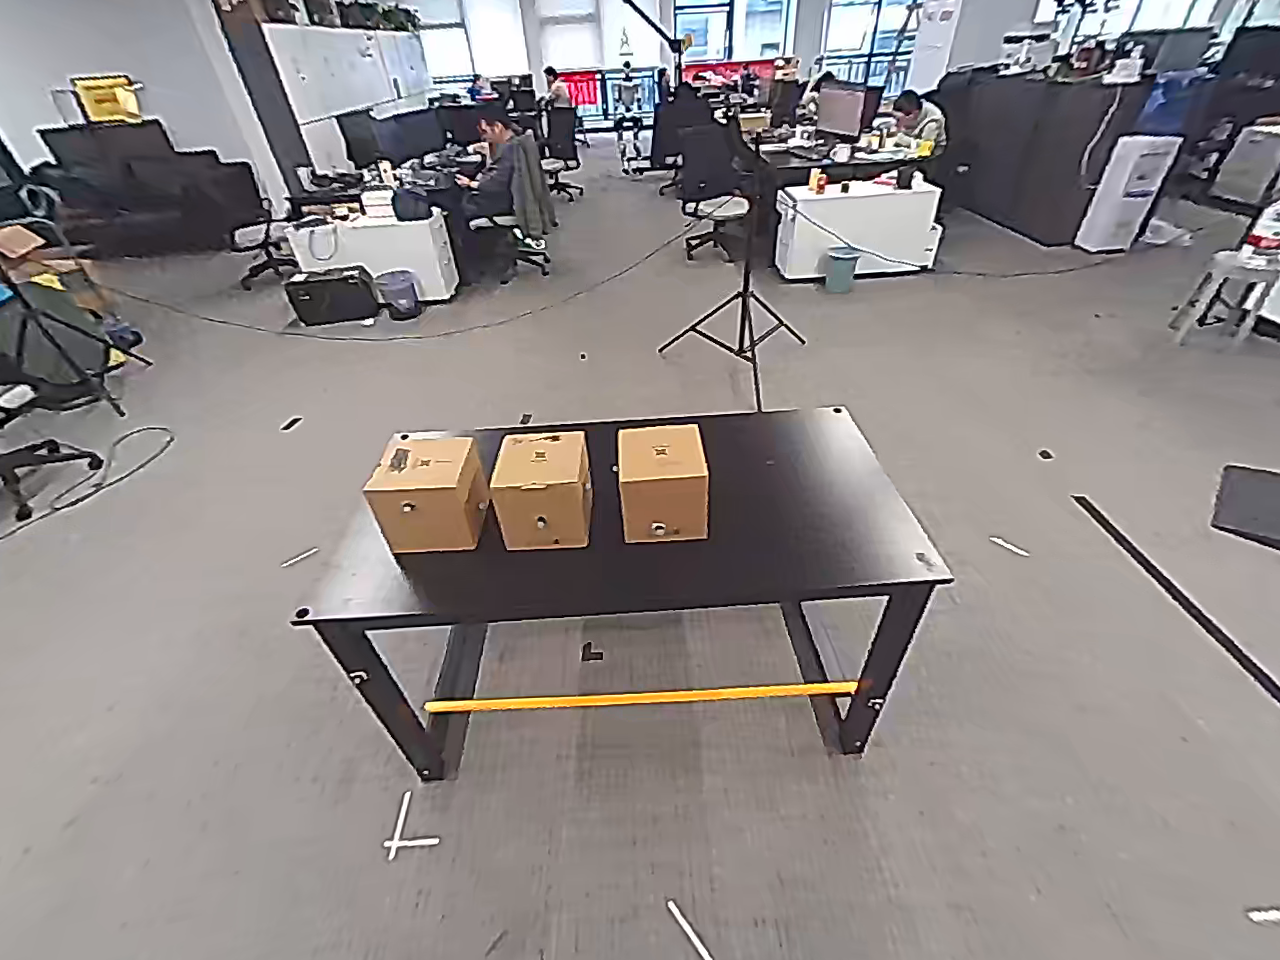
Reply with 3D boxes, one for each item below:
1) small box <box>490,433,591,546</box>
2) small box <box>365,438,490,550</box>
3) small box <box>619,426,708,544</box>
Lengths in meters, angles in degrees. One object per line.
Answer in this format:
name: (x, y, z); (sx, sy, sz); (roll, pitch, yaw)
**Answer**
small box: (-0.193, 0.024, 1.111); (0.168, 0.176, 0.179); (-3, 39, 1)
small box: (-0.426, 0.031, 1.116); (0.179, 0.176, 0.168); (-3, 39, 0)
small box: (0.045, 0.010, 1.112); (0.168, 0.176, 0.179); (-5, 40, 0)
